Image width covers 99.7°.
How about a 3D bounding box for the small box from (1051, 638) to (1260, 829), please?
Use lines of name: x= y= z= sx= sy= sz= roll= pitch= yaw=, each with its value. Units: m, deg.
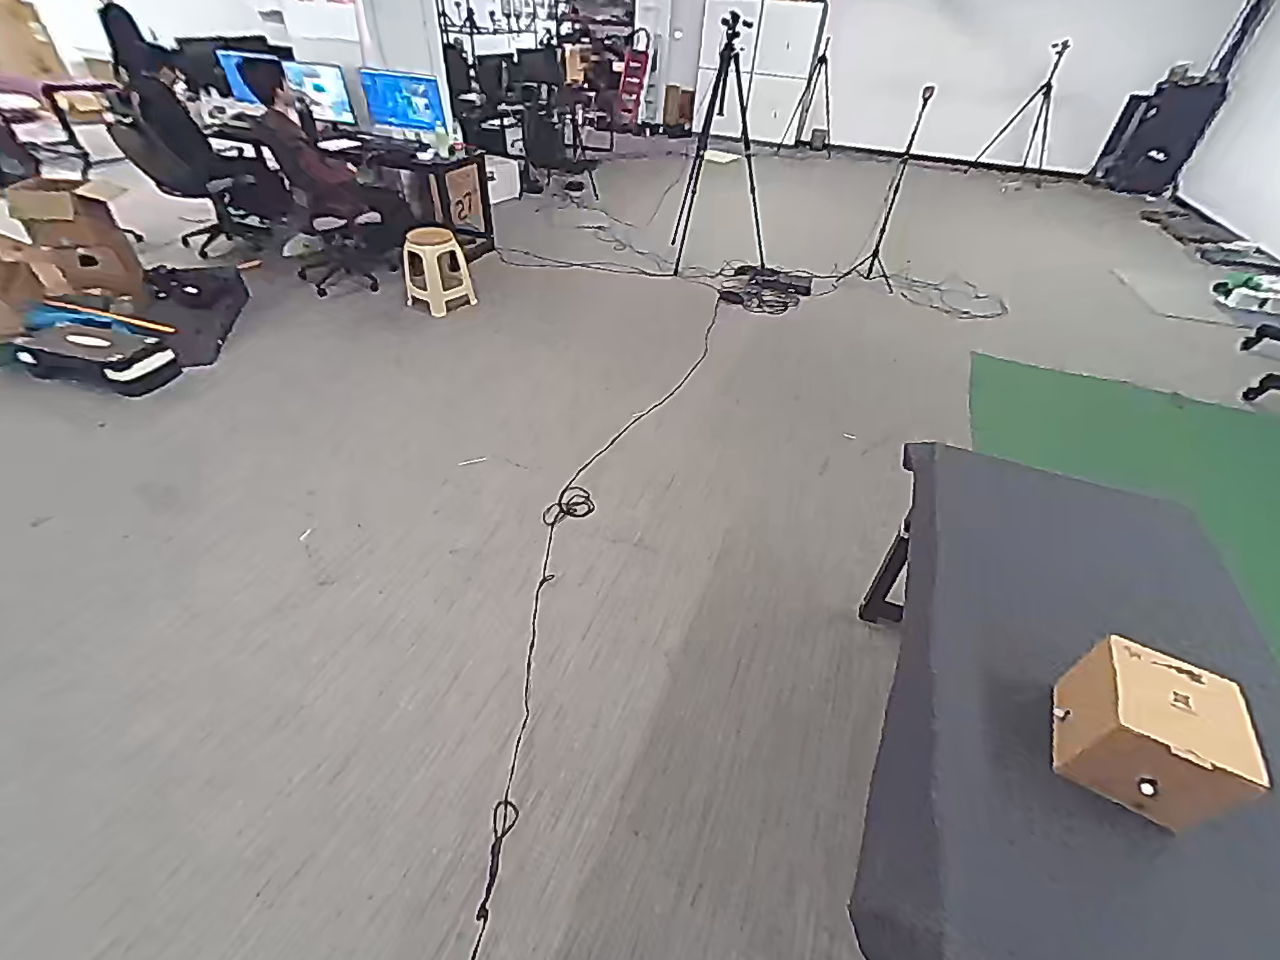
small box: x=0.765 y=0.388 z=0.828 sx=0.168 sy=0.176 sz=0.179 roll=23 pitch=45 yaw=21
